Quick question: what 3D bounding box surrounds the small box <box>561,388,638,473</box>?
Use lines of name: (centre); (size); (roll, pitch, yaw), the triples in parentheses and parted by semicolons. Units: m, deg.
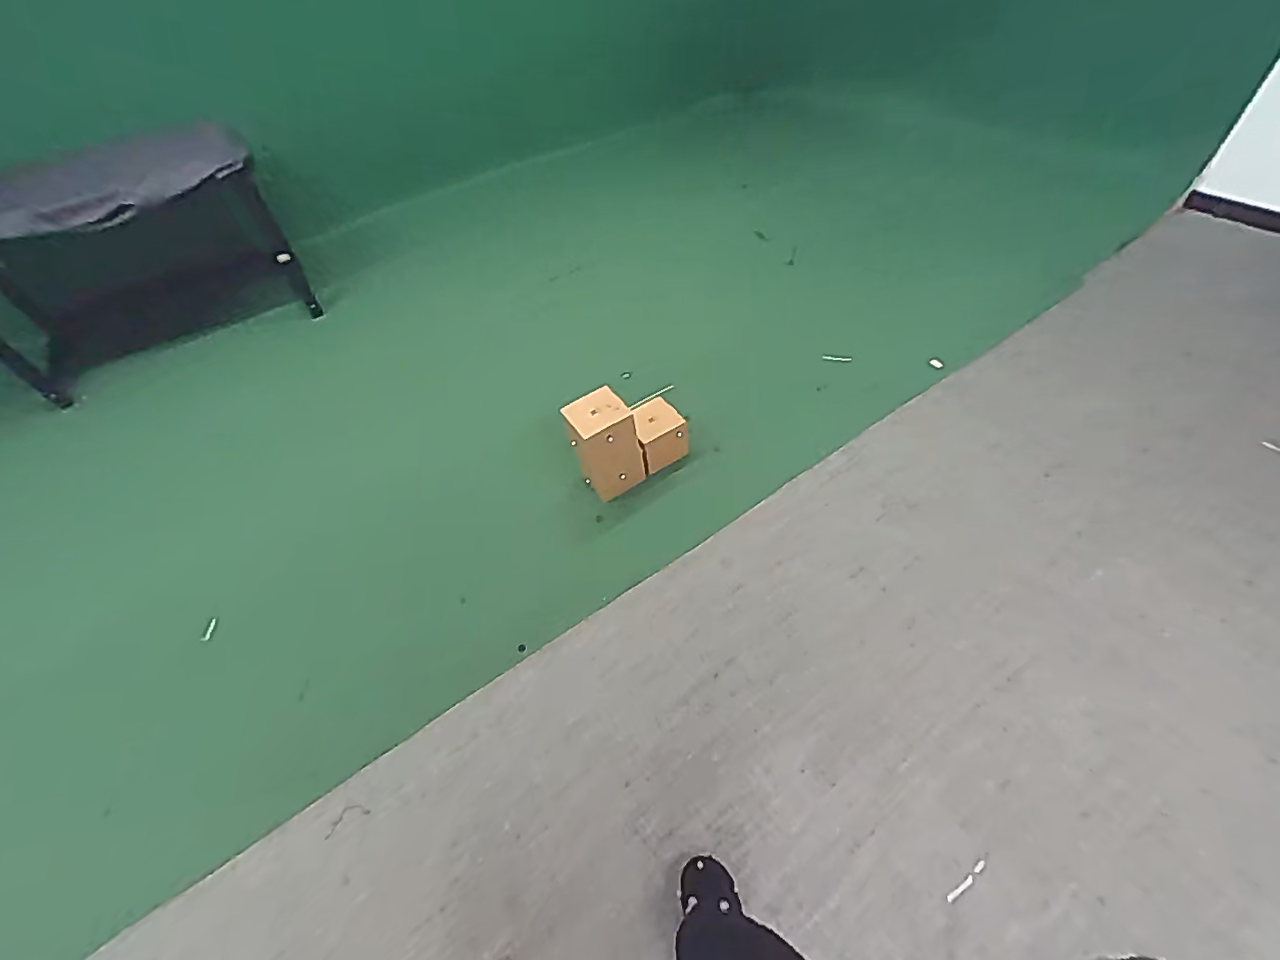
small box: (-0.124, -0.153, 1.719); (0.179, 0.176, 0.168); (-30, 54, -16)
